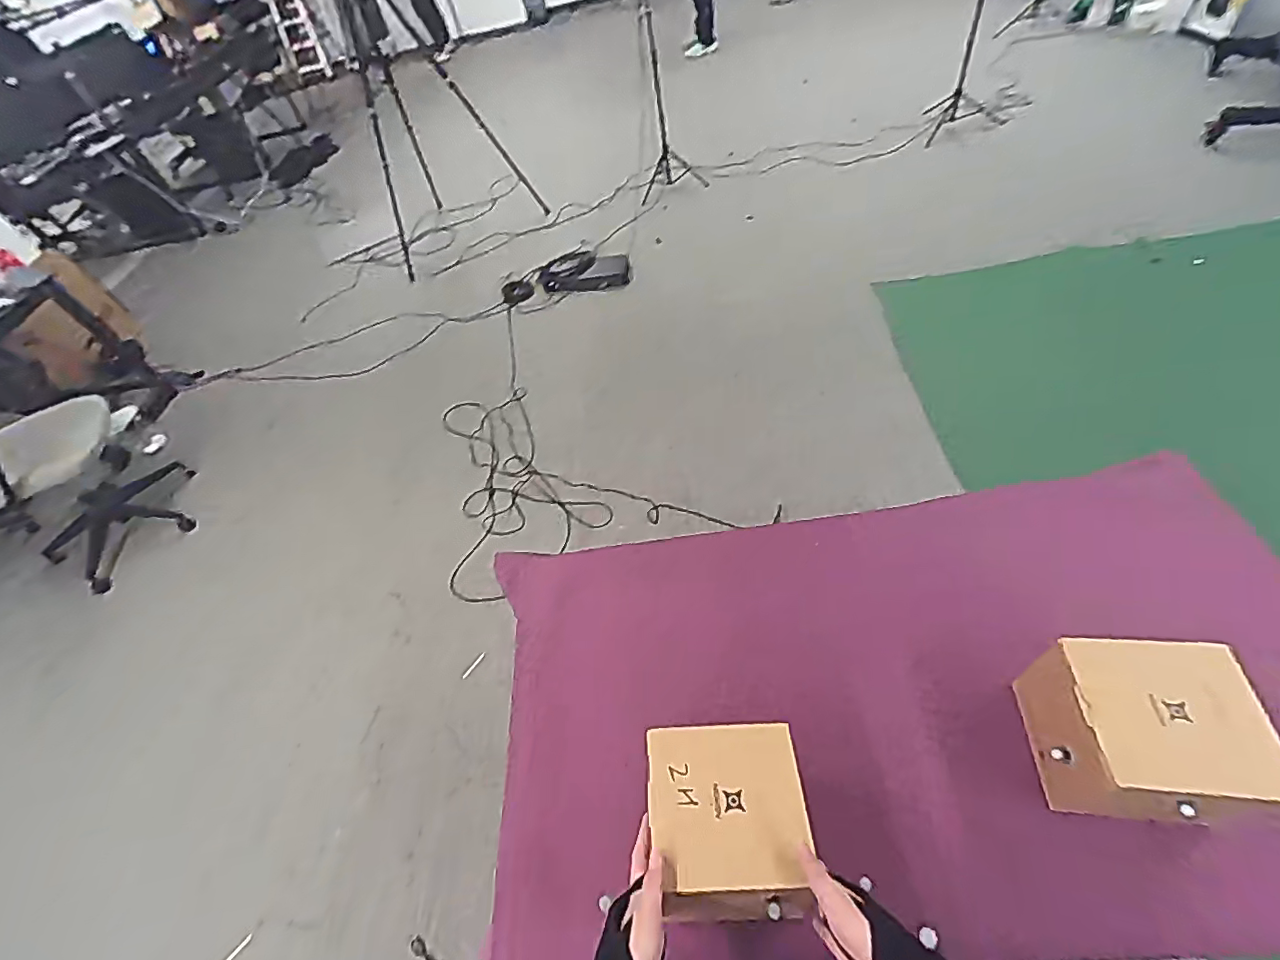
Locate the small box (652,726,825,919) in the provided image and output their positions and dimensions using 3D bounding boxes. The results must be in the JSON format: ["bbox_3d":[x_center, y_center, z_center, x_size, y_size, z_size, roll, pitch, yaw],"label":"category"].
[{"bbox_3d":[0.105,0.414,0.655,0.179,0.176,0.168,-3,44,3],"label":"small box"}]

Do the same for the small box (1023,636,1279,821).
[{"bbox_3d":[0.605,0.306,0.662,0.179,0.176,0.168,0,52,12],"label":"small box"}]
